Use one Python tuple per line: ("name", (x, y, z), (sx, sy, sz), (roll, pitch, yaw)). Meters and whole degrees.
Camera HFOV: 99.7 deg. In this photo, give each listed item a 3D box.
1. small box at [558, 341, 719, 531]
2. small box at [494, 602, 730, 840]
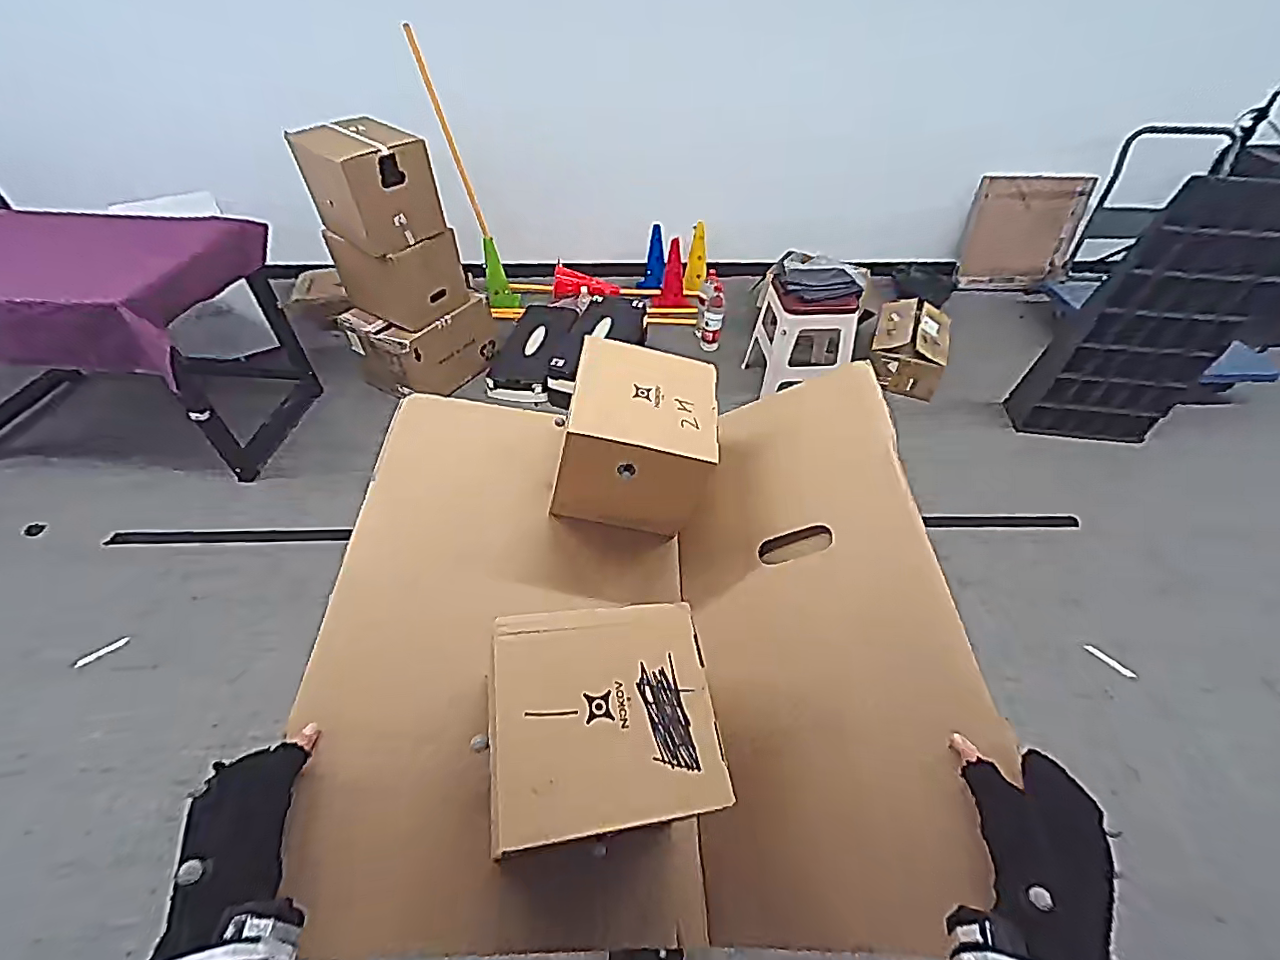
("small box", (-0.006, -0.051, 0.718), (0.179, 0.176, 0.168), (13, 53, -9))
("small box", (-0.042, 0.225, 0.505), (0.179, 0.176, 0.168), (0, 55, -17))
